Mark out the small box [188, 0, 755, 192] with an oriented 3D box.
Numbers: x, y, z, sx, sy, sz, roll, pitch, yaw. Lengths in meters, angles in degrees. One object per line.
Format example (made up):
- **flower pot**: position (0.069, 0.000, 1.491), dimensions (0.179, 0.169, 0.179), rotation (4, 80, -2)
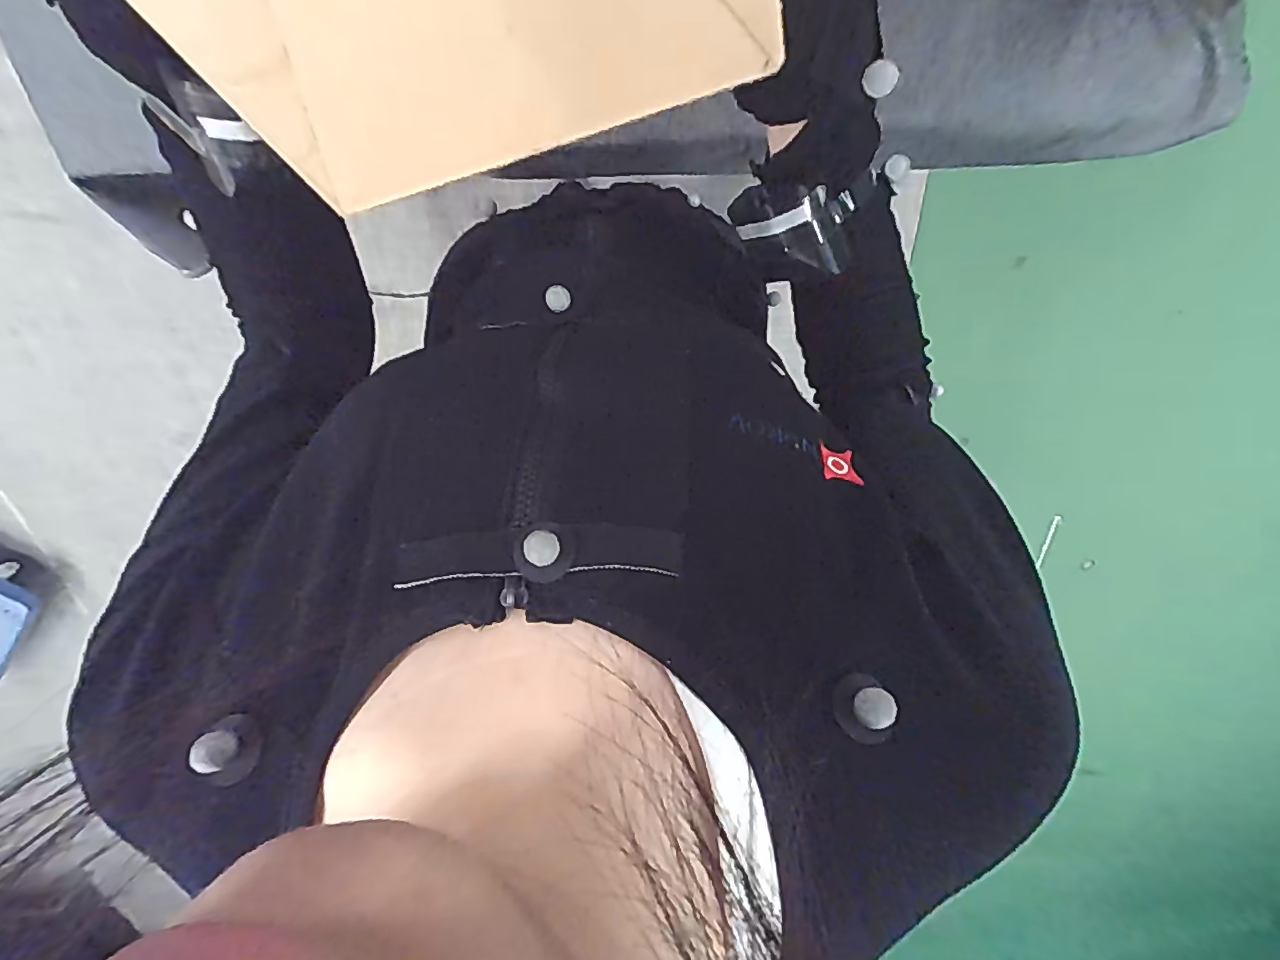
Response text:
- **small box**: position (-0.059, -0.219, 0.142), dimensions (0.168, 0.176, 0.179), rotation (-9, 155, 17)
